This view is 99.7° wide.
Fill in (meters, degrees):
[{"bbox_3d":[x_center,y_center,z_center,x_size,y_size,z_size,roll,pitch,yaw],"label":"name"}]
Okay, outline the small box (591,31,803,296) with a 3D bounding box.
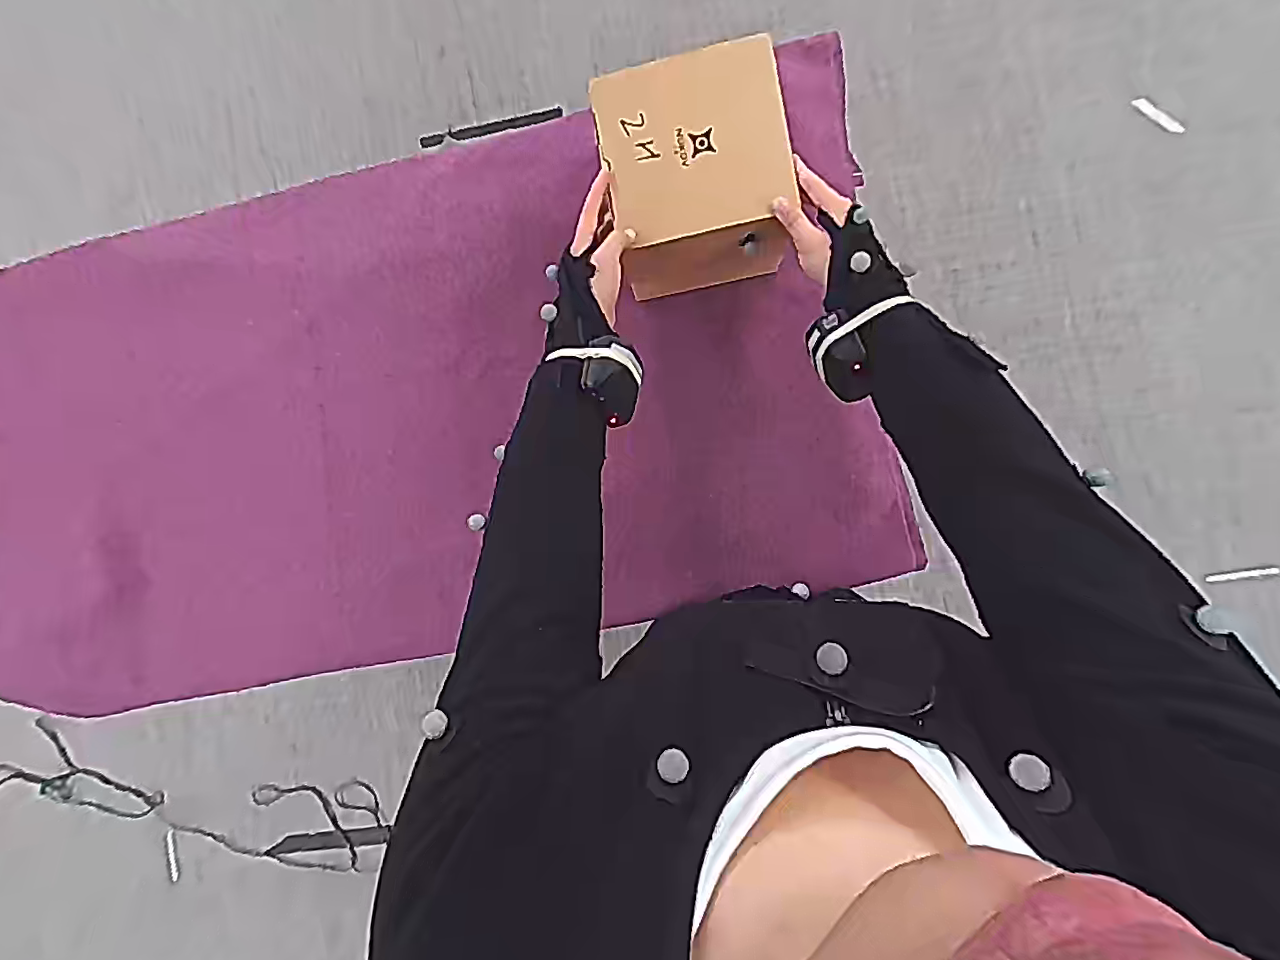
[{"bbox_3d":[0.059,-0.315,0.579,0.179,0.176,0.168,-10,91,7],"label":"small box"}]
